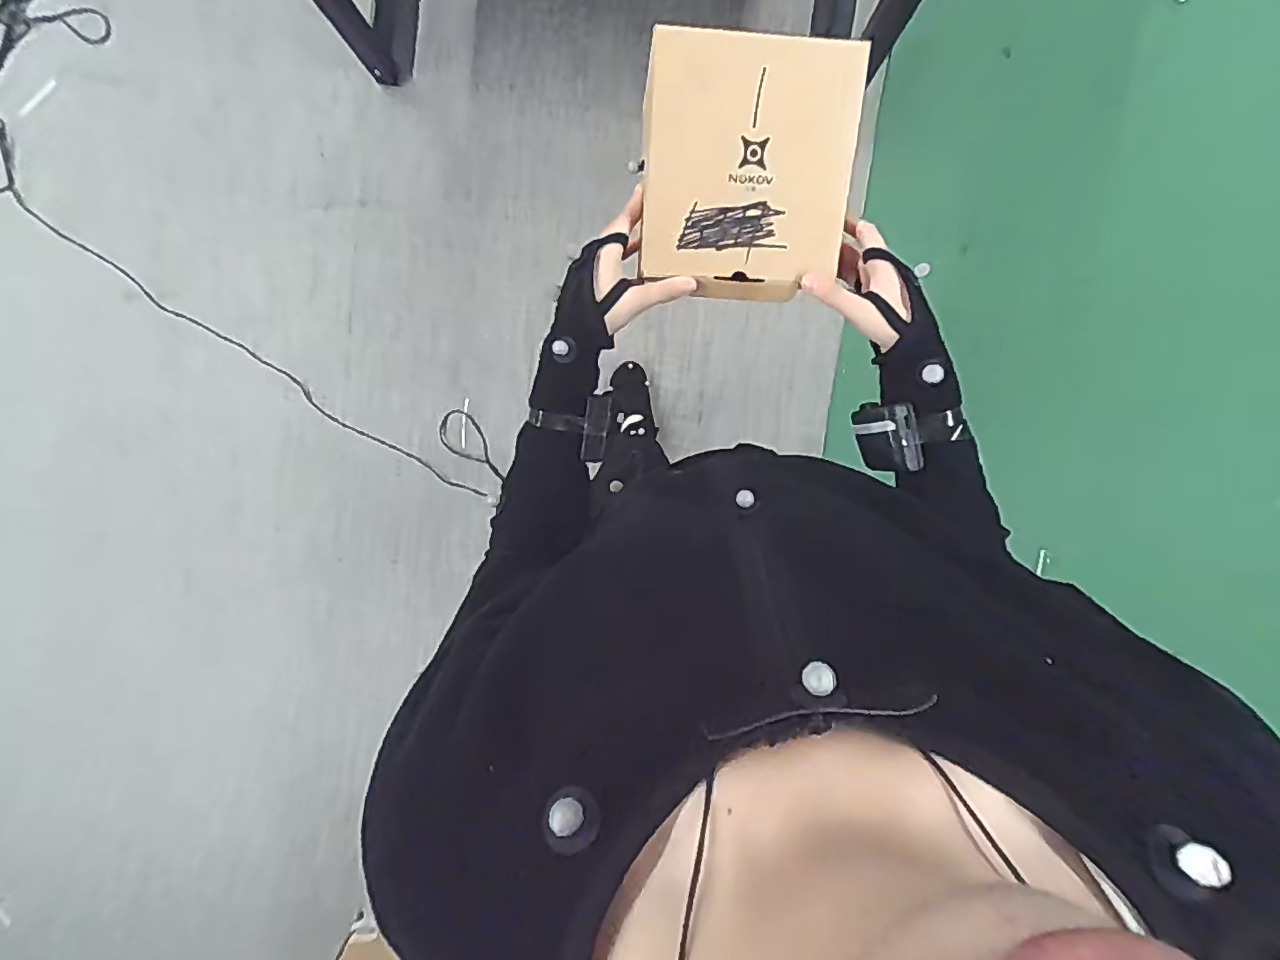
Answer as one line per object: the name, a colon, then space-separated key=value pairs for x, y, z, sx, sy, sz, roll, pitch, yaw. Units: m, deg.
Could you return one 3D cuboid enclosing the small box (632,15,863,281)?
small box: x=0.080 y=-0.284 z=0.506 sx=0.168 sy=0.176 sz=0.179 roll=2 pitch=108 yaw=-3
